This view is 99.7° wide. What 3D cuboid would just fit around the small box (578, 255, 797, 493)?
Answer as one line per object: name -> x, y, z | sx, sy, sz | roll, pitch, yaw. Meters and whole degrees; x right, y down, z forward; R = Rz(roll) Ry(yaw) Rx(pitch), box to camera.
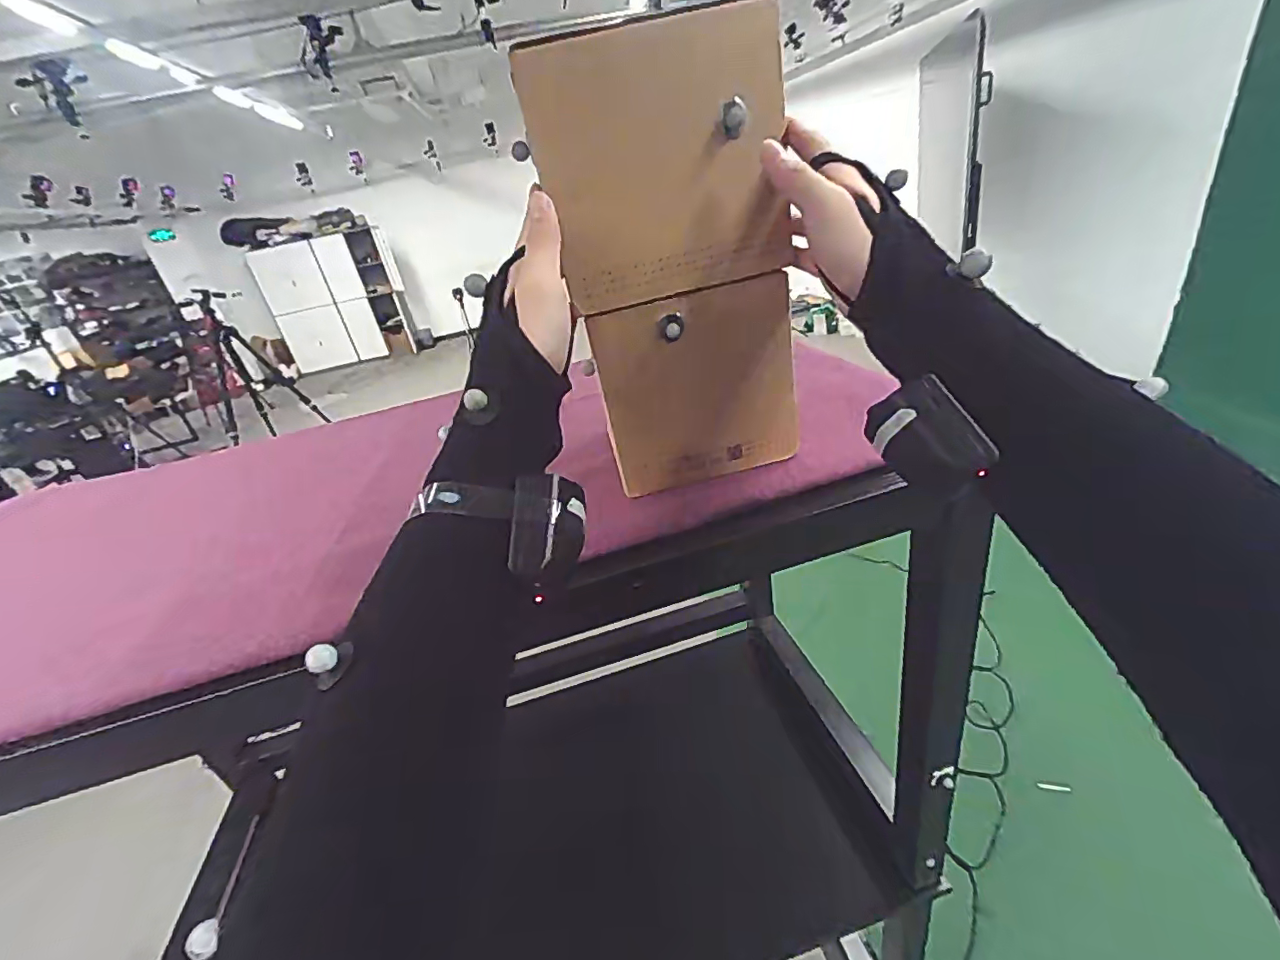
small box -> 0.041, -0.110, 0.529 | 0.168, 0.176, 0.179 | -15, 28, -2
